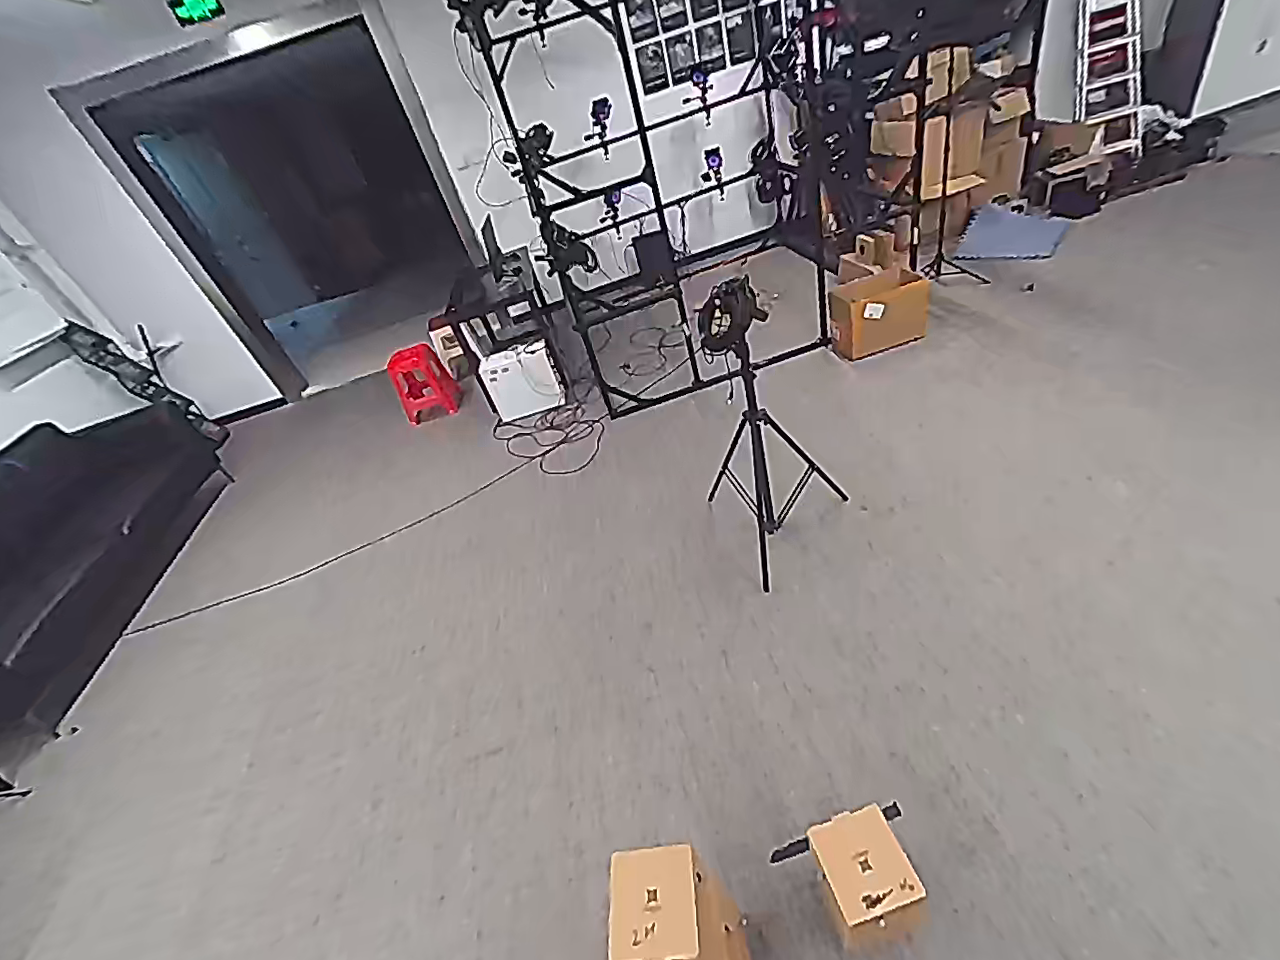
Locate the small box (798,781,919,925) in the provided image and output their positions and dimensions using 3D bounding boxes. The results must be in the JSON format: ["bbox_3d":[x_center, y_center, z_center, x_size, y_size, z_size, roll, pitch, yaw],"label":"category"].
[{"bbox_3d":[0.444,0.768,1.115,0.168,0.176,0.179,-20,37,-2],"label":"small box"}]

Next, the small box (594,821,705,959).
[{"bbox_3d":[0.020,0.777,1.018,0.168,0.176,0.179,-13,38,9],"label":"small box"}]

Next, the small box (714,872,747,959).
[{"bbox_3d":[0.136,1.021,1.204,0.168,0.176,0.179,-18,37,2],"label":"small box"}]

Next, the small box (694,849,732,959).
[{"bbox_3d":[0.082,0.901,1.110,0.168,0.176,0.179,-17,38,5],"label":"small box"}]
